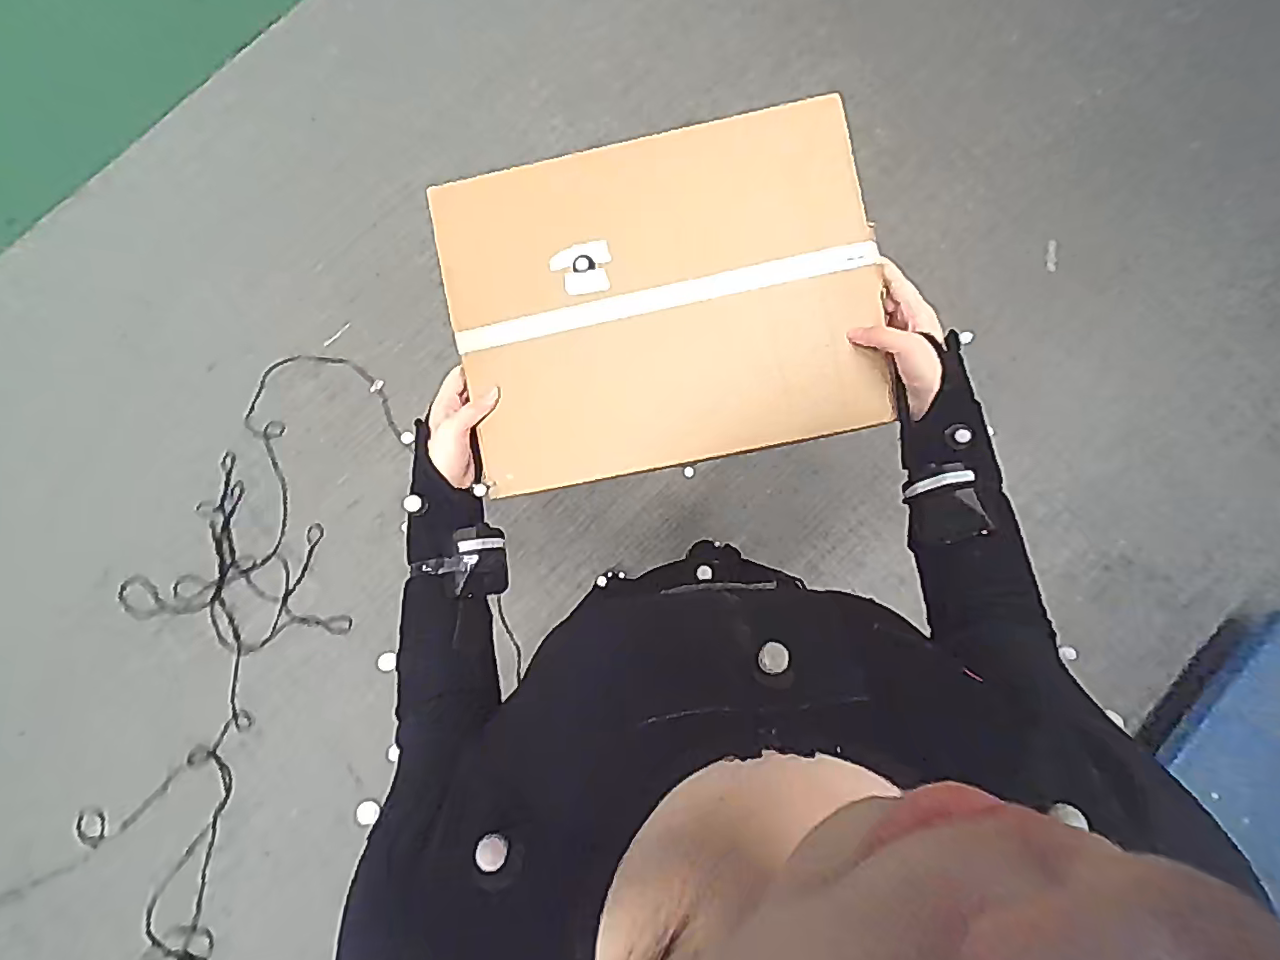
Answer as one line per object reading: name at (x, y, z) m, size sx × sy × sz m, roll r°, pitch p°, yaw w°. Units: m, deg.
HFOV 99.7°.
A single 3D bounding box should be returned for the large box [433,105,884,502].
large box at (0.025, -0.174, 0.682) m, size 0.408 × 0.320 × 0.320 m, roll -12°, pitch 90°, yaw 5°
